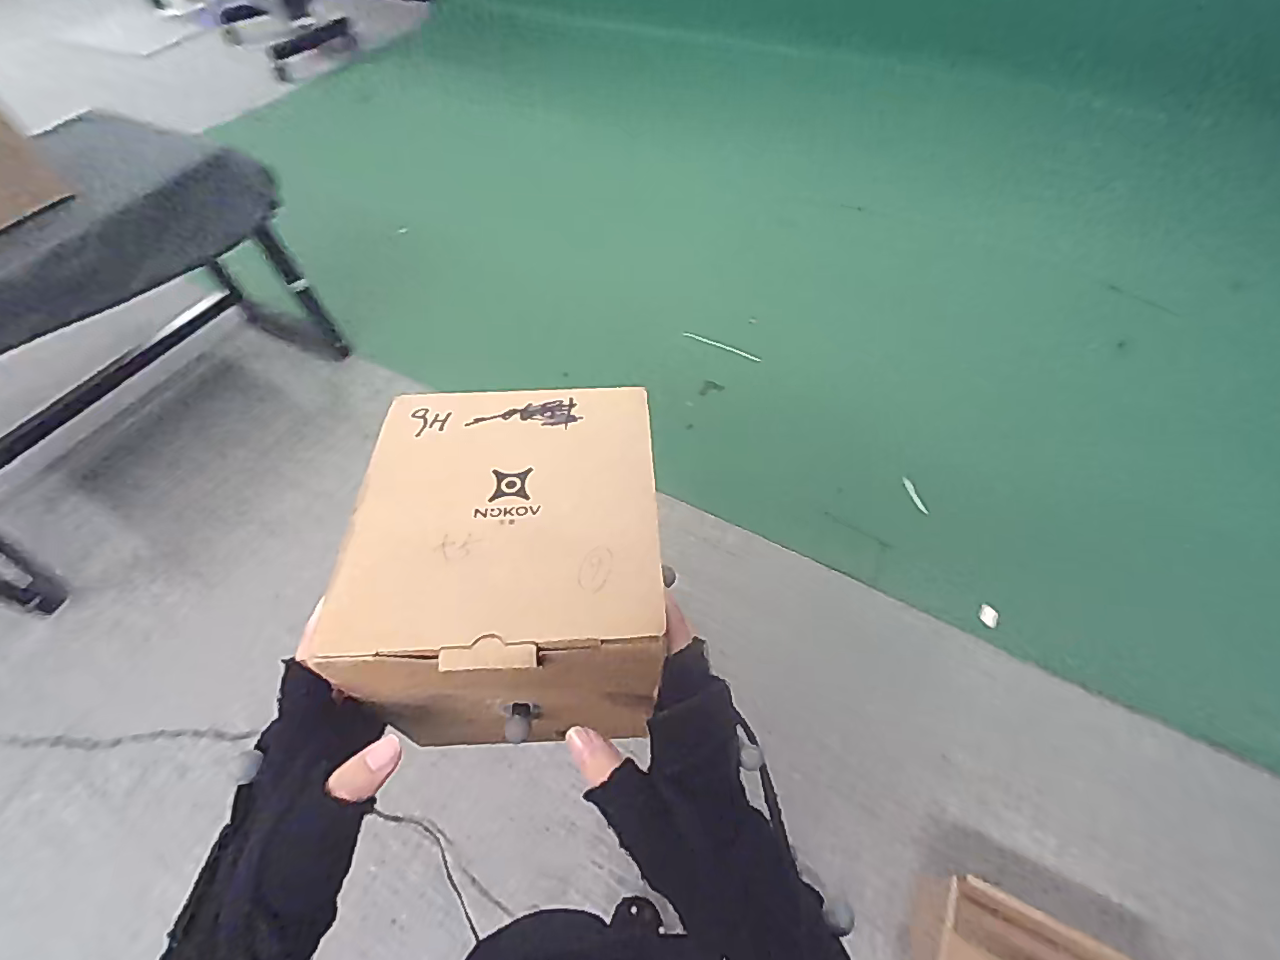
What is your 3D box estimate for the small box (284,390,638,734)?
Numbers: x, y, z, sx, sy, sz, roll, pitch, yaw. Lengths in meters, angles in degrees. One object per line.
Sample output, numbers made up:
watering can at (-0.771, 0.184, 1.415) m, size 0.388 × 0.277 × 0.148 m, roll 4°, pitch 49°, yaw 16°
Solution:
small box at (-0.087, 0.062, 0.364) m, size 0.168 × 0.176 × 0.179 m, roll -2°, pitch 53°, yaw -2°
